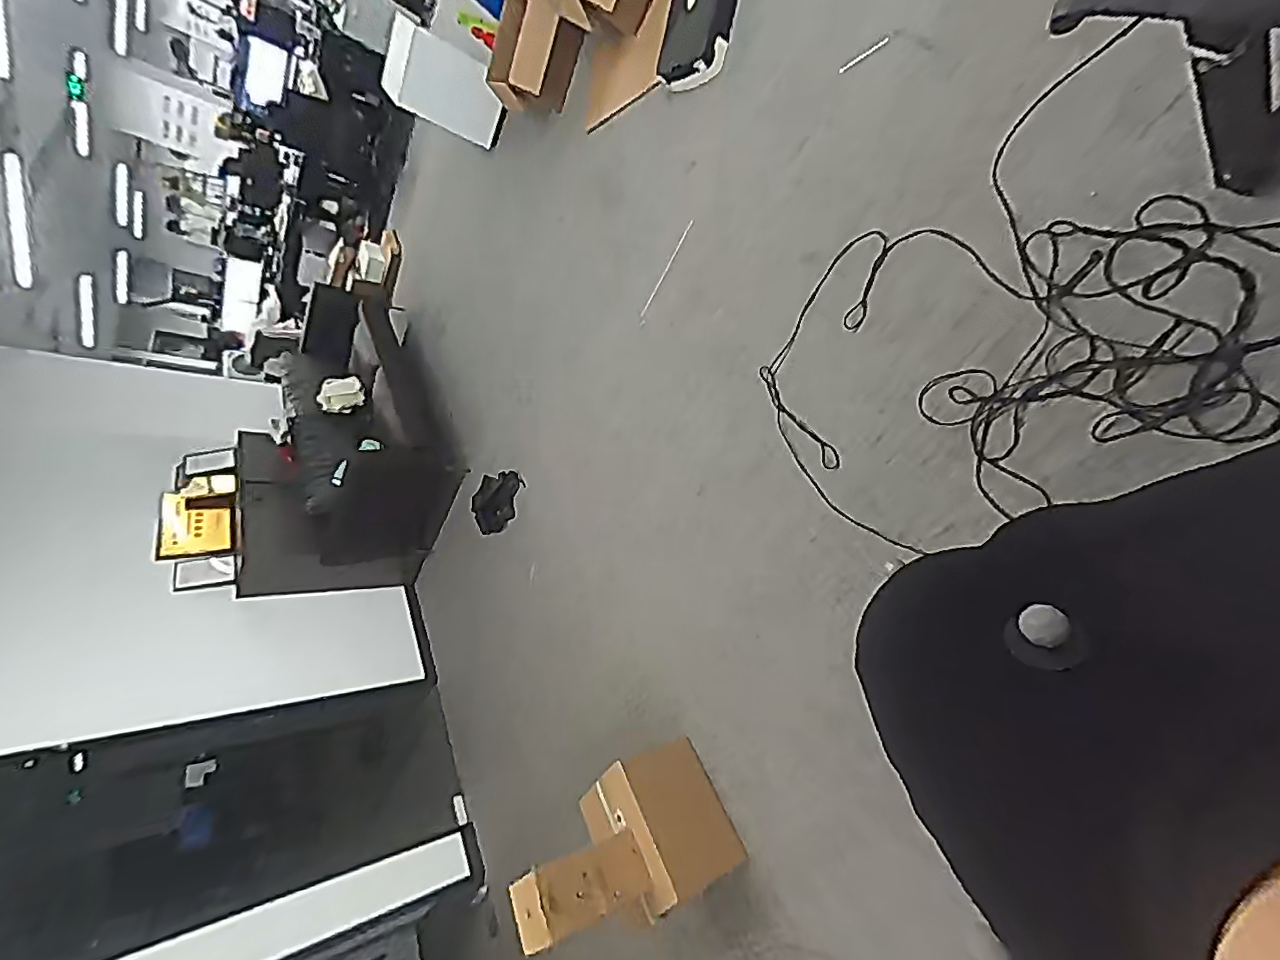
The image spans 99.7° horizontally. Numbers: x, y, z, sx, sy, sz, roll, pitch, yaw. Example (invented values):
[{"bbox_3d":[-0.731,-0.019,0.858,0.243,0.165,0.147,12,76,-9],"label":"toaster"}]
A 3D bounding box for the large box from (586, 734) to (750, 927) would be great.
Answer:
[{"bbox_3d":[0.080,1.128,1.777,0.320,0.320,0.408,-56,47,29],"label":"large box"}]

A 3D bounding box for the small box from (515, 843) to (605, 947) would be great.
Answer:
[{"bbox_3d":[-0.222,1.148,1.501,0.179,0.176,0.168,-53,50,34],"label":"small box"}]
